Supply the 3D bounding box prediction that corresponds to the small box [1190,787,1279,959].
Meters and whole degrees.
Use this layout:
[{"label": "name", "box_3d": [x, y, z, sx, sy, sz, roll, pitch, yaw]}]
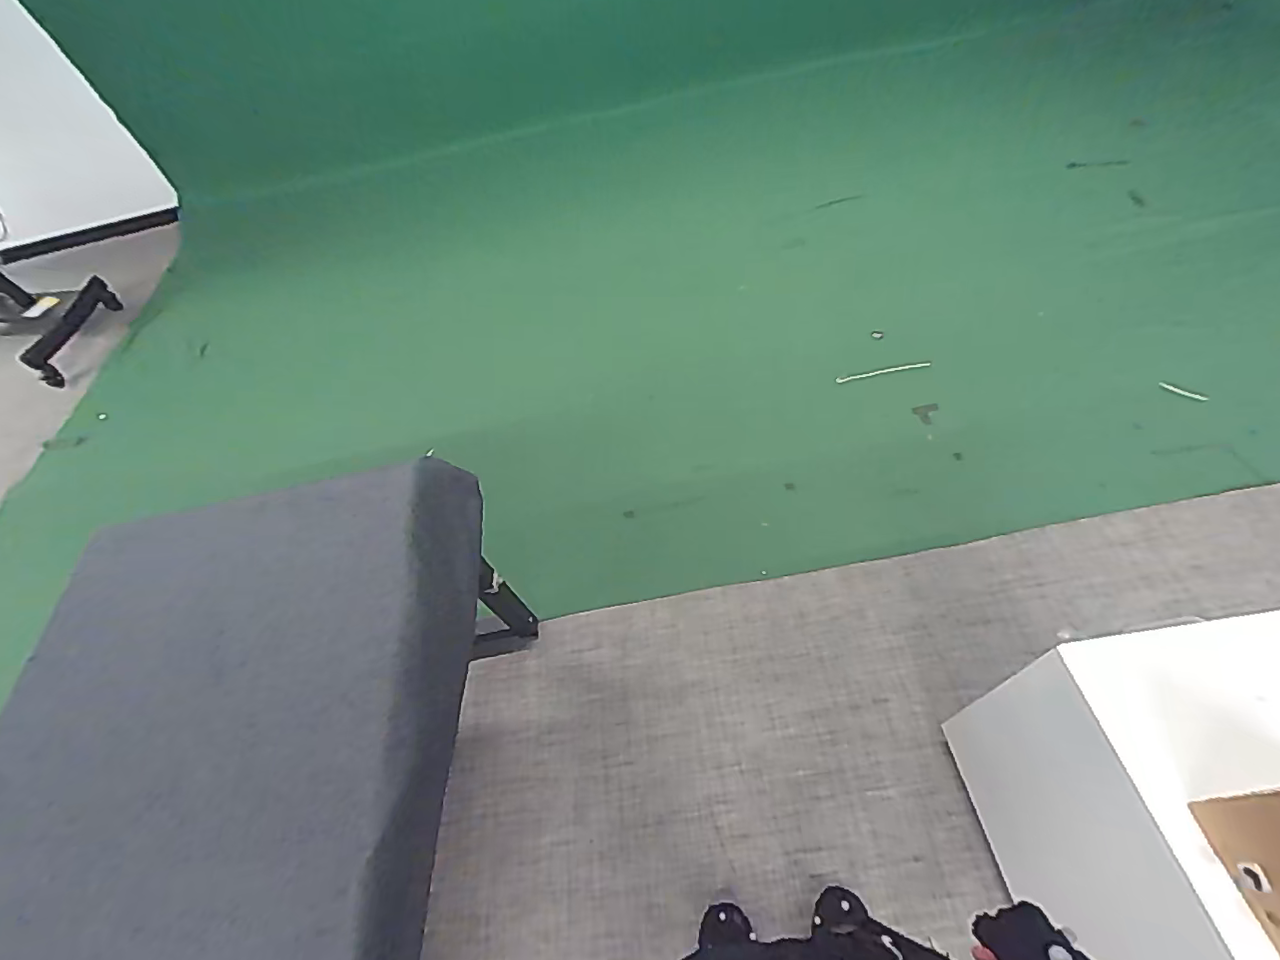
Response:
[{"label": "small box", "box_3d": [0.703, 0.376, 0.505, 0.179, 0.176, 0.168, -13, 53, 4]}]
